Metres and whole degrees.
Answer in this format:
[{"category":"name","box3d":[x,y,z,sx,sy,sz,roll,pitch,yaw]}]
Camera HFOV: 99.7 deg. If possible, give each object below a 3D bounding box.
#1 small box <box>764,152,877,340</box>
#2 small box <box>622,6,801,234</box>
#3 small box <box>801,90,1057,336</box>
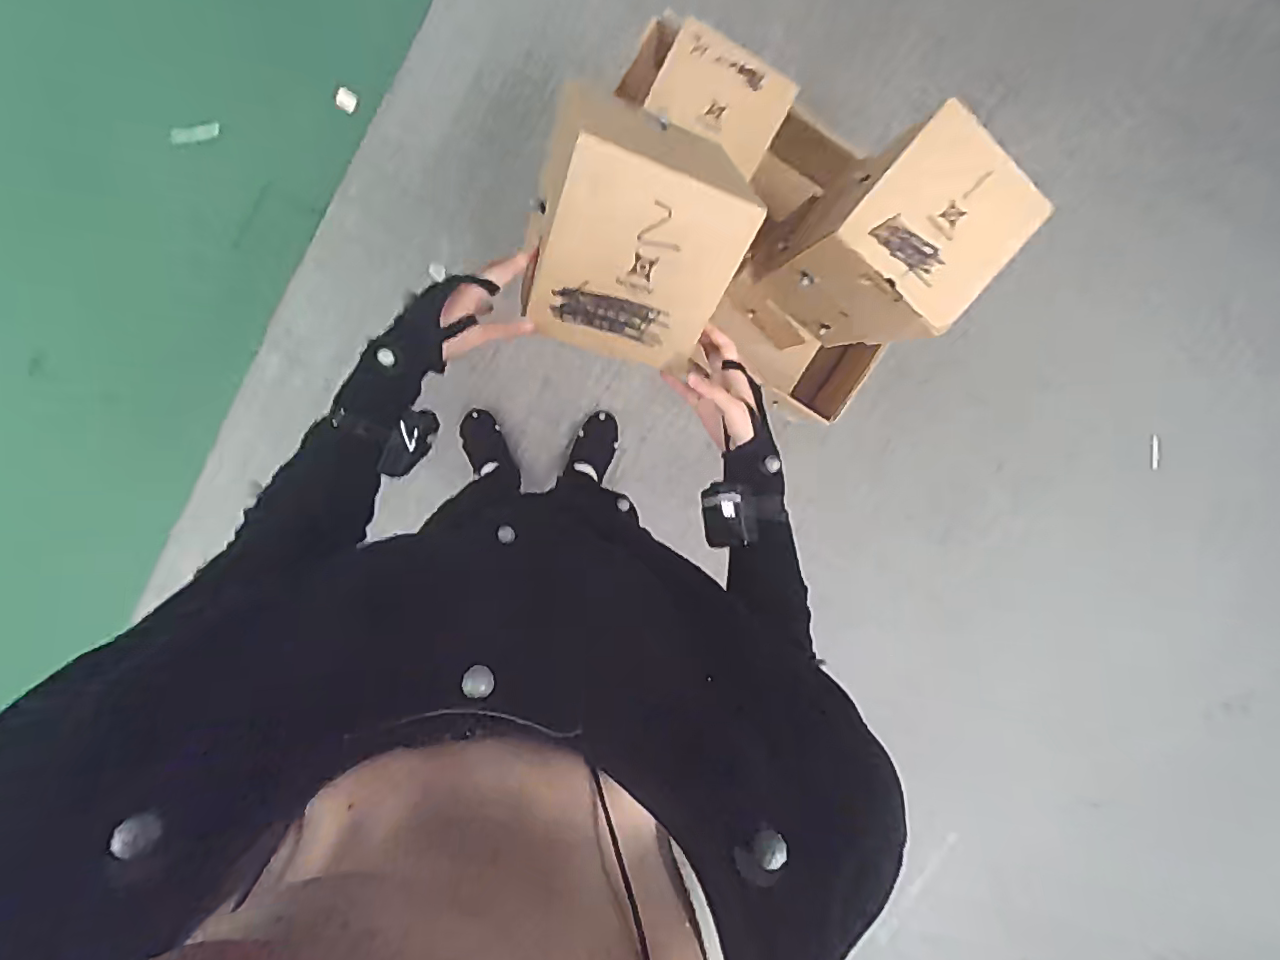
[{"category":"small box","box3d":[0.303,-0.324,0.795,0.168,0.176,0.179,37,96,-10]},{"category":"small box","box3d":[0.087,-0.475,0.751,0.168,0.176,0.179,28,98,-8]},{"category":"small box","box3d":[0.314,-0.288,0.636,0.168,0.176,0.179,40,96,-10]}]
